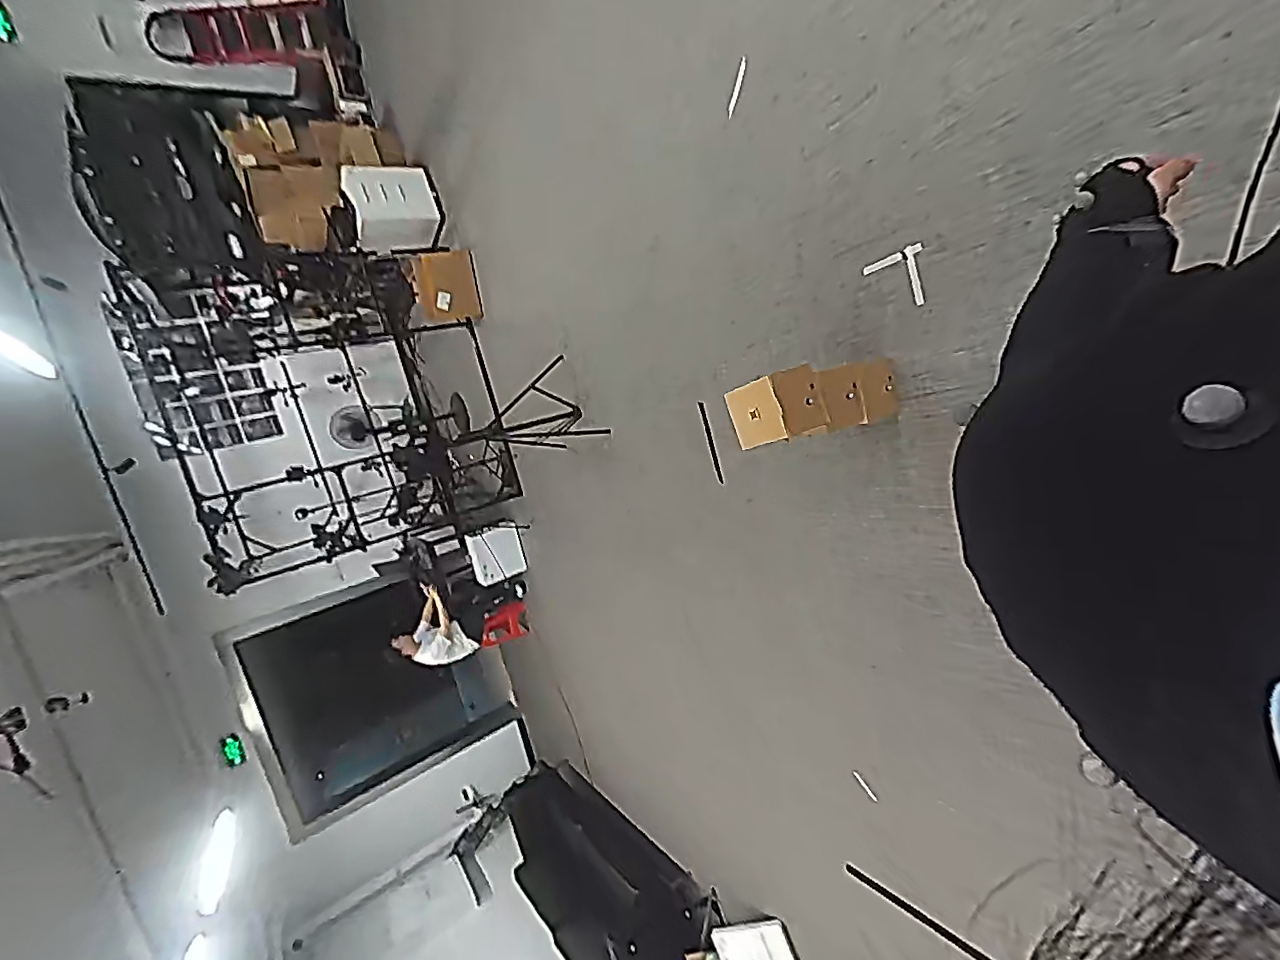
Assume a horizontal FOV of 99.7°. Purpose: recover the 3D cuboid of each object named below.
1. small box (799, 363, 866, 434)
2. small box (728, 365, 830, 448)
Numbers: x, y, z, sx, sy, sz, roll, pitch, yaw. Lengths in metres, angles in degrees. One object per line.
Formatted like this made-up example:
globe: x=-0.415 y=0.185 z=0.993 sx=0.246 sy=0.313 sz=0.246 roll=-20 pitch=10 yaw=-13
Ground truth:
small box: x=0.507 y=-0.229 z=1.530 sx=0.179 sy=0.176 sz=0.168 roll=4 pitch=111 yaw=56
small box: x=0.372 y=-0.195 z=1.445 sx=0.179 sy=0.176 sz=0.168 roll=-17 pitch=92 yaw=58
